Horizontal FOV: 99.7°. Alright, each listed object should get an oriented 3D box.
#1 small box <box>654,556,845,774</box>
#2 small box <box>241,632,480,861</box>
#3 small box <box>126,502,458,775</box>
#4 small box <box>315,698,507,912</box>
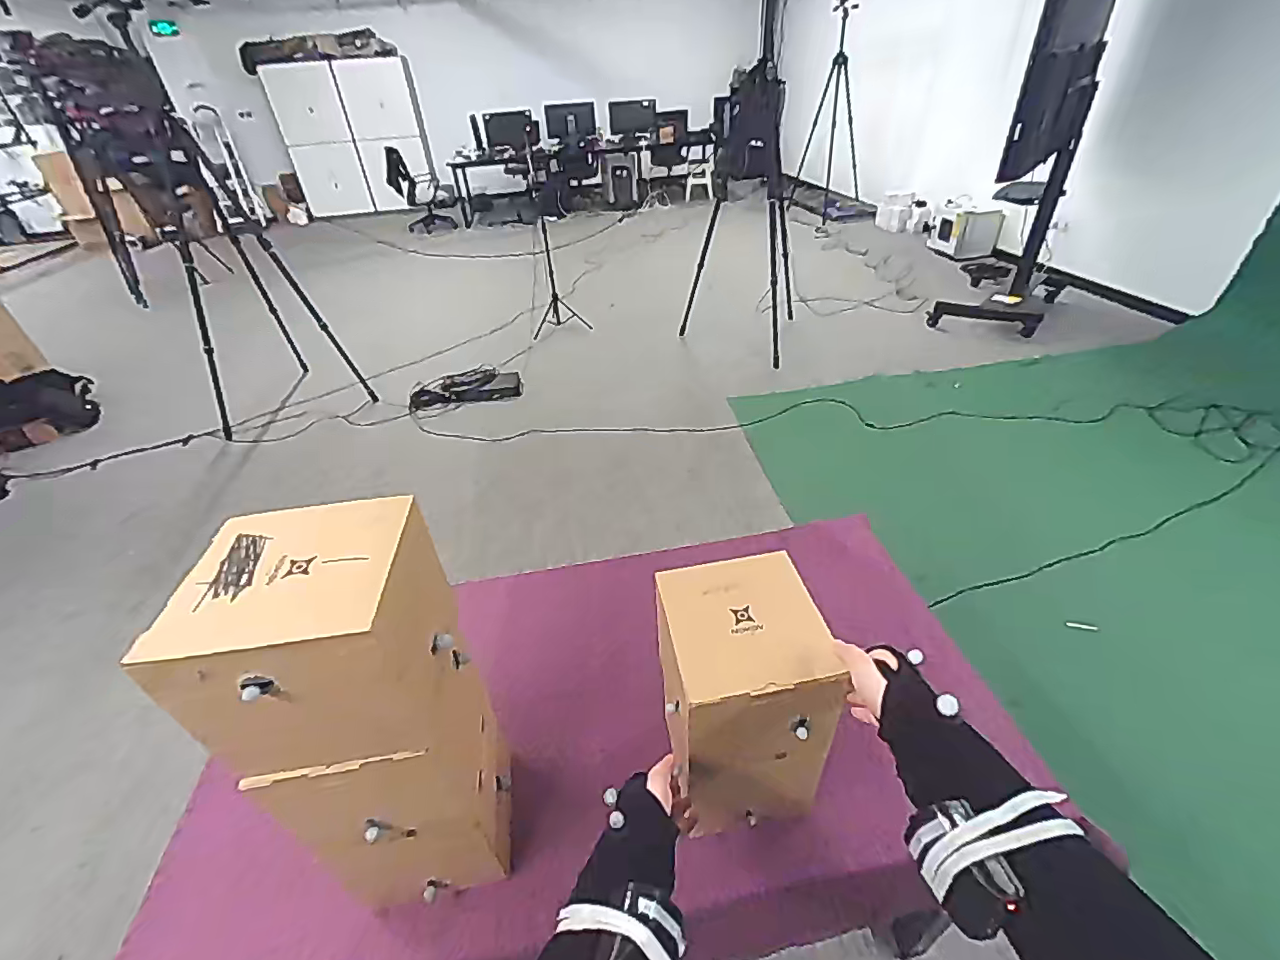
[{"bbox_3d":[0.115,0.219,0.634,0.168,0.176,0.179,-8,37,-6],"label":"small box"},{"bbox_3d":[-0.281,0.277,0.595,0.168,0.176,0.179,-9,37,-5],"label":"small box"},{"bbox_3d":[-0.286,0.144,0.498,0.179,0.176,0.168,-7,37,-5],"label":"small box"},{"bbox_3d":[-0.270,0.412,0.691,0.179,0.176,0.168,-9,37,-7],"label":"small box"}]
